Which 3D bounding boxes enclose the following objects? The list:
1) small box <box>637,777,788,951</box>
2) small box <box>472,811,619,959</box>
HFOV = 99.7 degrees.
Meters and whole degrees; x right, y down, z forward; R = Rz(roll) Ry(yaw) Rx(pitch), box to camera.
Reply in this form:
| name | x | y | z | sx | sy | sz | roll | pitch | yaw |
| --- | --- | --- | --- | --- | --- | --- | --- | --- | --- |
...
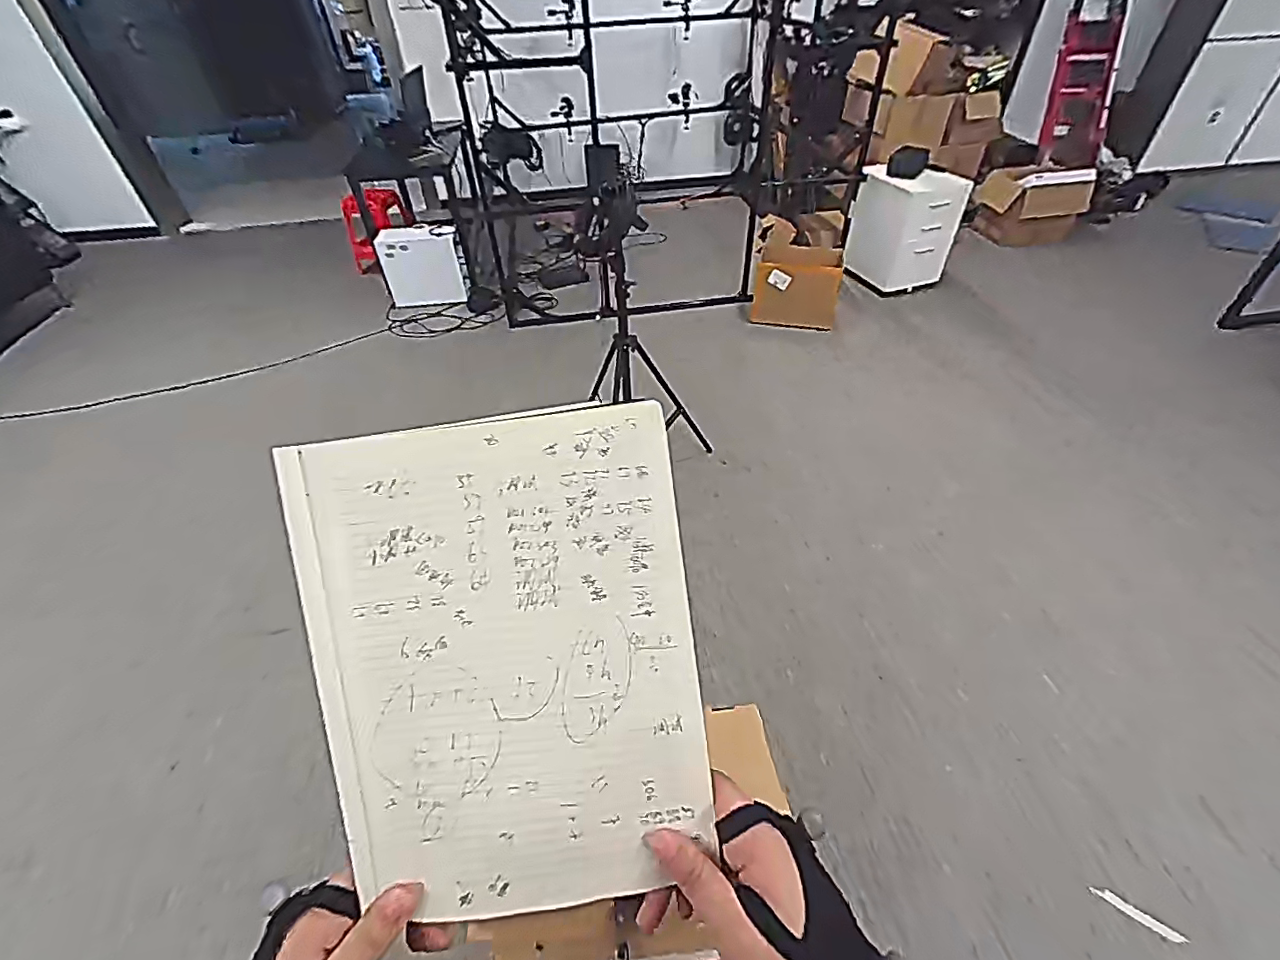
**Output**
| name | x | y | z | sx | sy | sz | roll | pitch | yaw |
| --- | --- | --- | --- | --- | --- | --- | --- | --- | --- |
| small box | 0.093 | 0.567 | 0.798 | 0.179 | 0.176 | 0.168 | -8 | 45 | -7 |
| small box | -0.121 | 0.593 | 0.779 | 0.179 | 0.176 | 0.168 | -4 | 45 | 1 |
